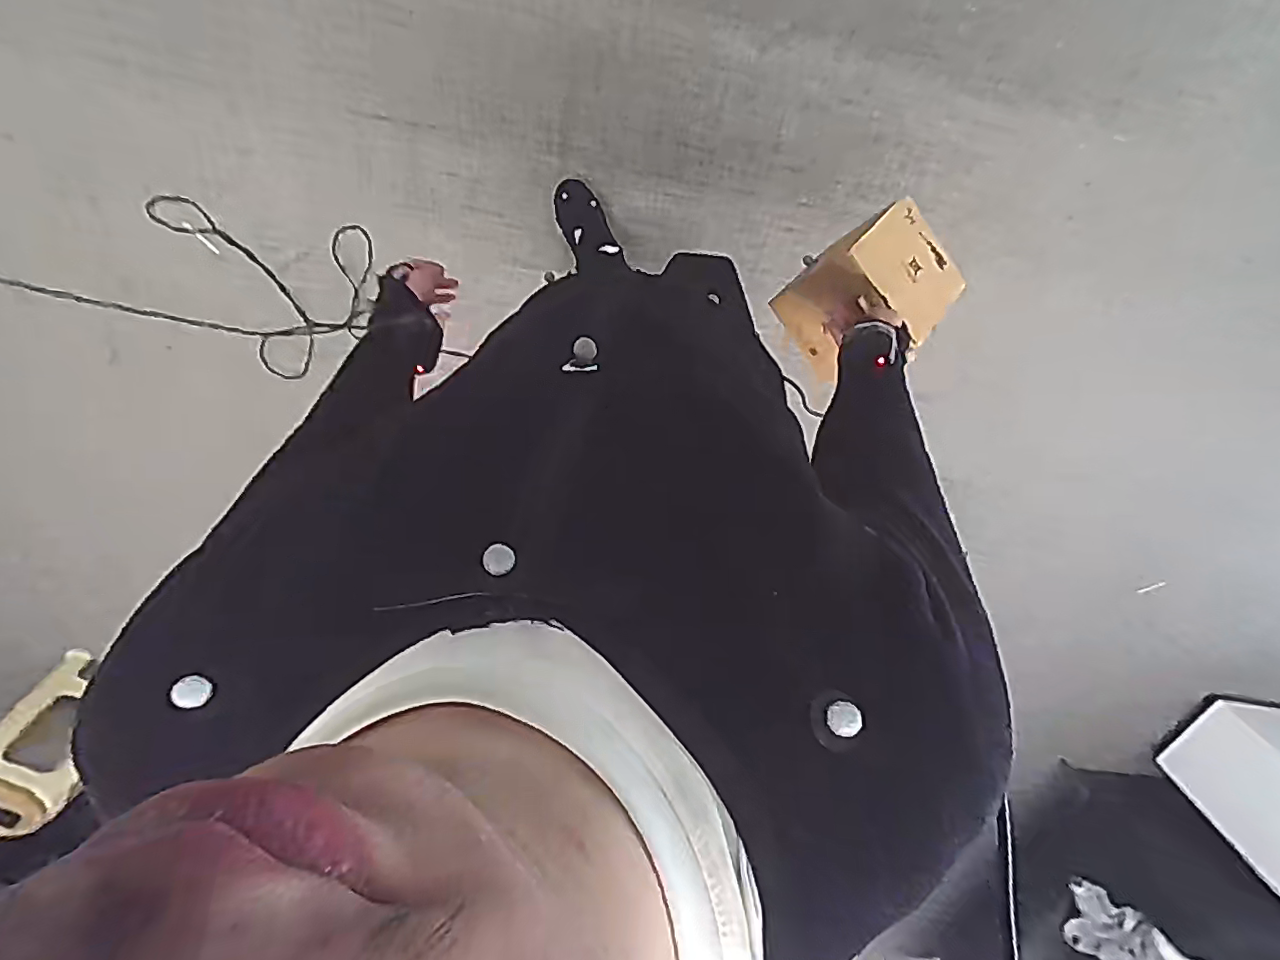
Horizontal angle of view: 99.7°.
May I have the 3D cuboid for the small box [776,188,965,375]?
[{"bbox_3d":[0.333,-0.284,0.809,0.179,0.176,0.168,-45,103,-24],"label":"small box"}]
